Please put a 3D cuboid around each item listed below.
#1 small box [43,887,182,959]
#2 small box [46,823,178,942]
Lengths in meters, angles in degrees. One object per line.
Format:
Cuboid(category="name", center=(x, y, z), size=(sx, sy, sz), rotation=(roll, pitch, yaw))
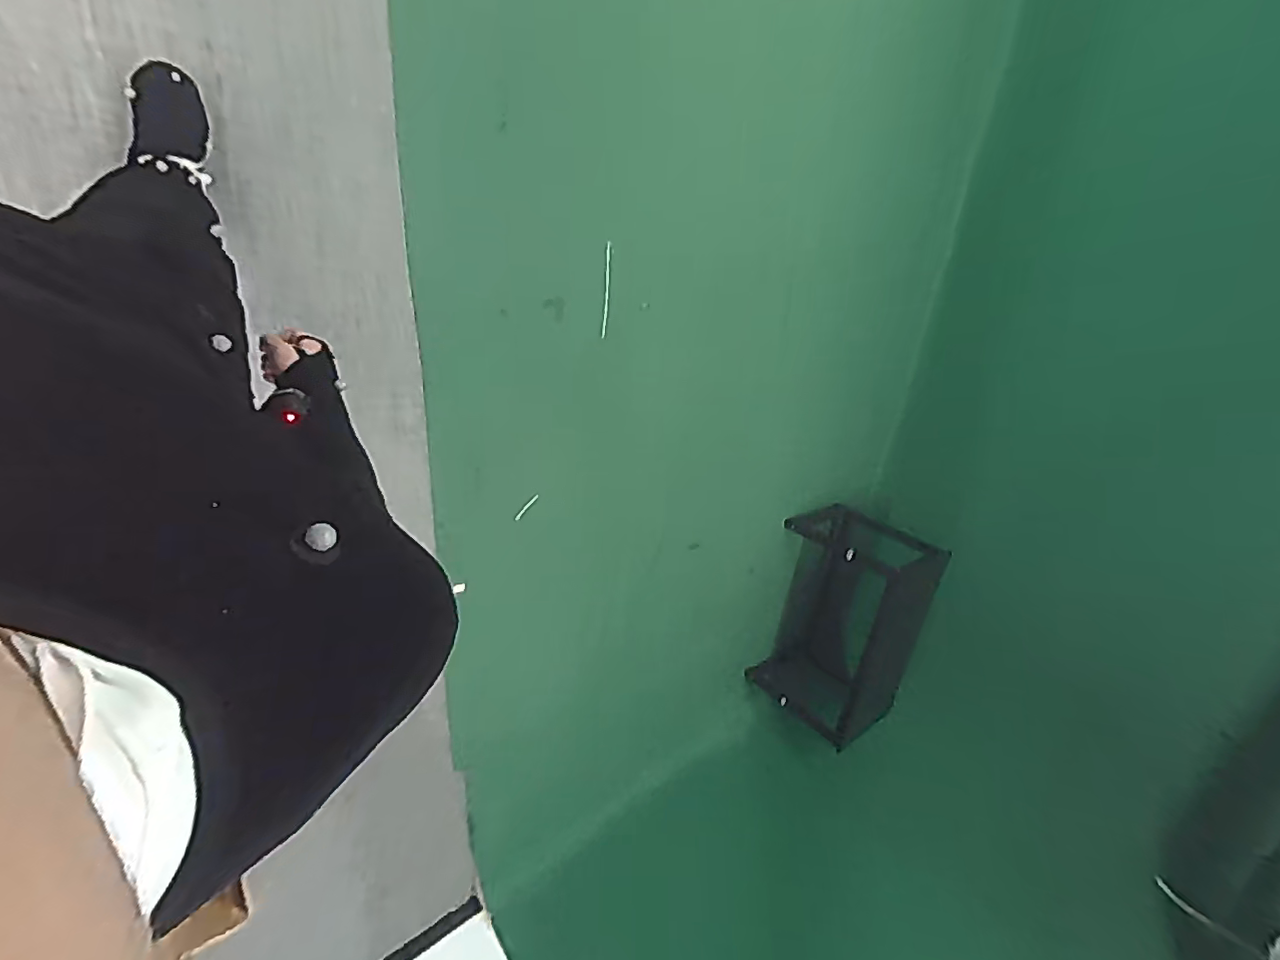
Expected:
Cuboid(category="small box", center=(-0.964, 0.913, 0.994), size=(0.168, 0.176, 0.179), rotation=(-12, 118, -38))
Cuboid(category="small box", center=(-1.067, 0.859, 1.107), size=(0.168, 0.176, 0.179), rotation=(-12, 118, -39))
